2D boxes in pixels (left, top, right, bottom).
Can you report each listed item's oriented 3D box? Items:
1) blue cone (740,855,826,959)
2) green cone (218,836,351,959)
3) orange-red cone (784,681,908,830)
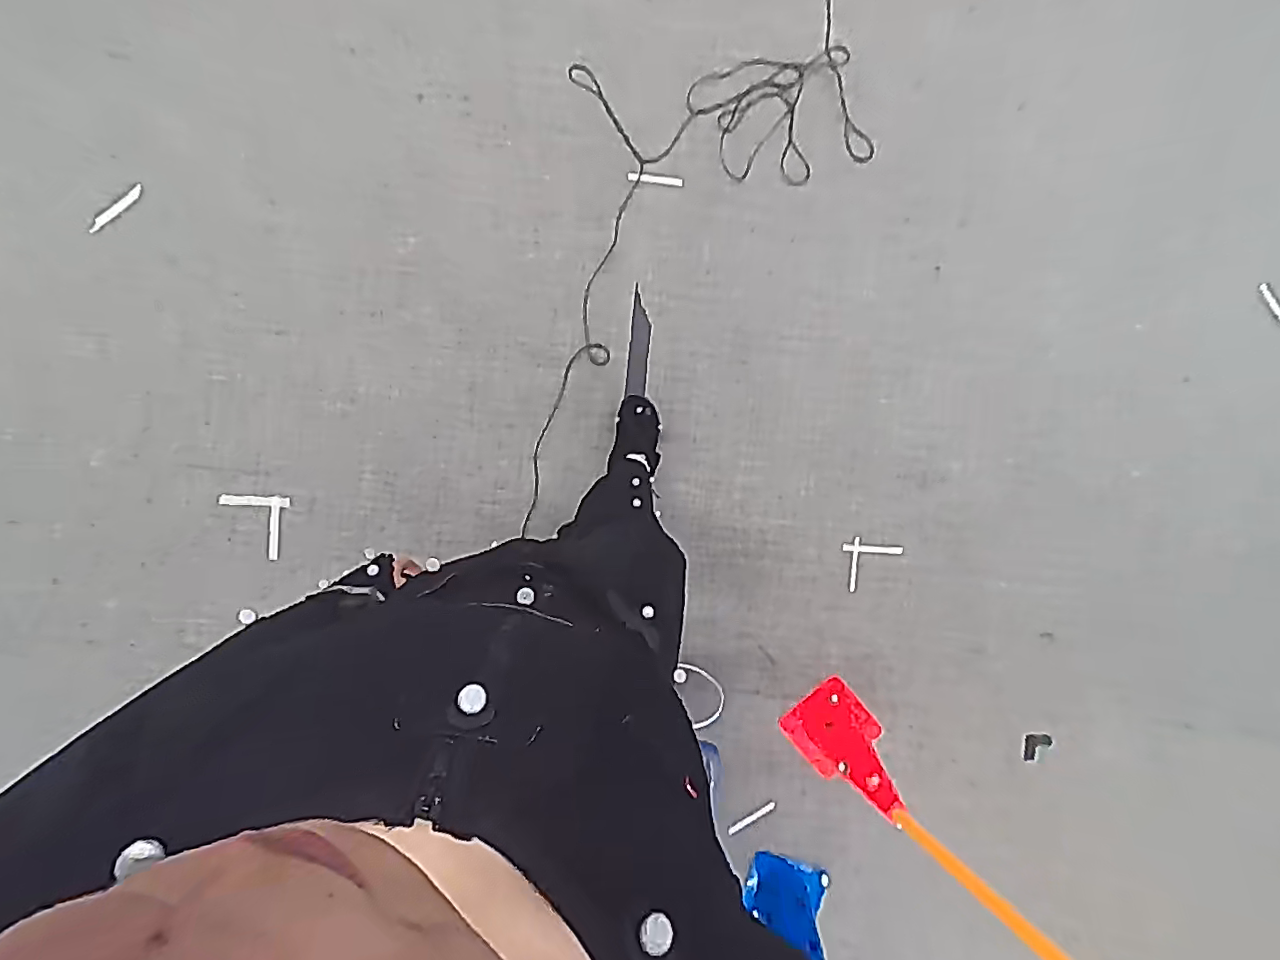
[{"bbox_3d":[0.361,1.058,1.197,0.193,0.380,0.192,20,90,-1],"label":"blue cone"},{"bbox_3d":[-0.818,0.988,1.164,0.200,0.368,0.202,-8,90,-1],"label":"green cone"},{"bbox_3d":[0.482,0.631,1.179,0.199,0.360,0.198,-39,90,1],"label":"orange-red cone"}]
